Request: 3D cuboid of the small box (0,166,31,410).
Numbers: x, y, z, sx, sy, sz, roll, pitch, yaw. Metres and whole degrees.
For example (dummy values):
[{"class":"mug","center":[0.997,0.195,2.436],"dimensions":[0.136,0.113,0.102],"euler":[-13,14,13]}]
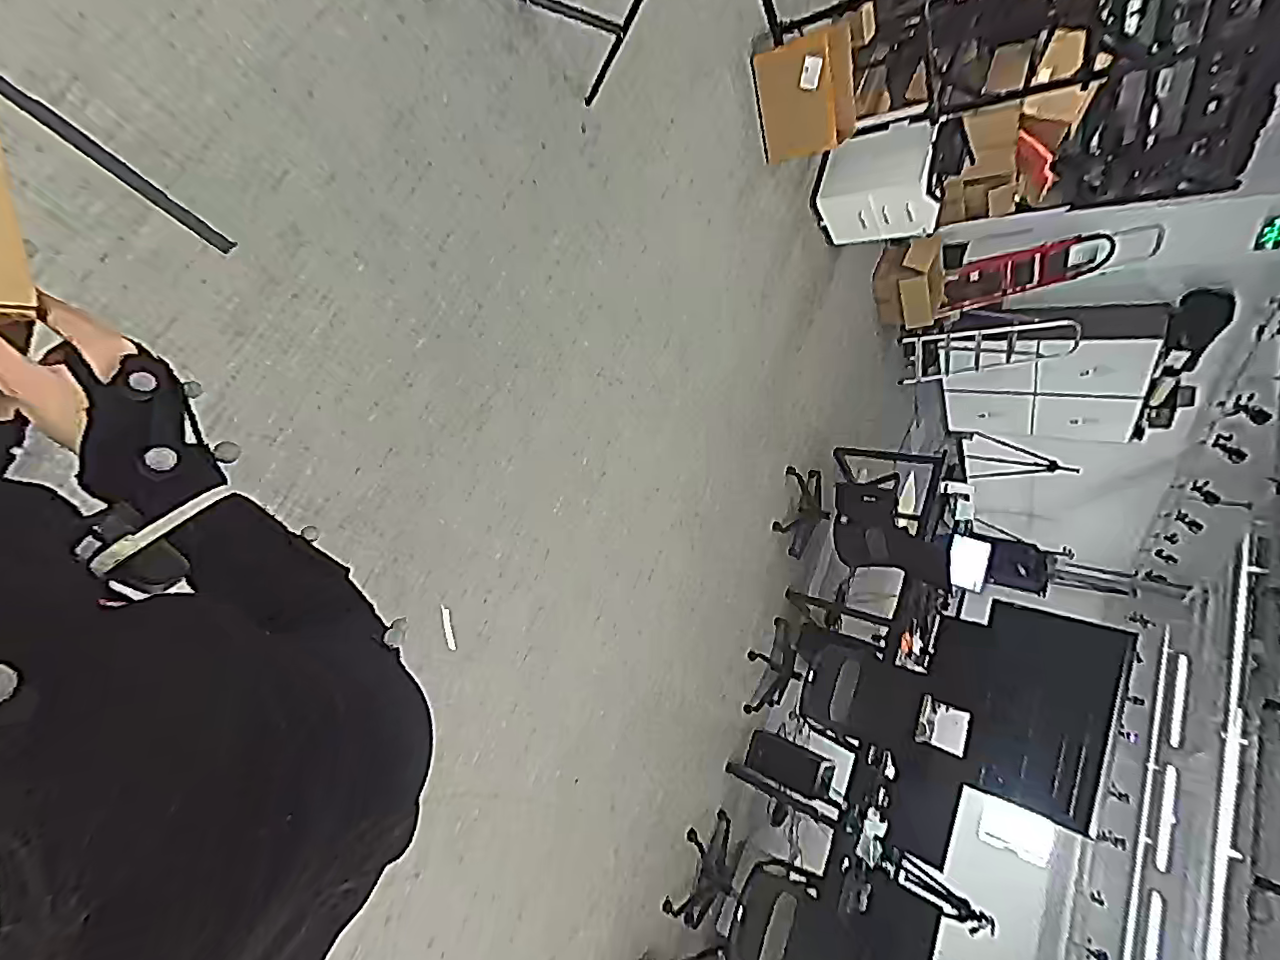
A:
[{"class":"small box","center":[-0.502,-0.144,0.317],"dimensions":[0.168,0.176,0.179],"euler":[-11,79,-55]}]
